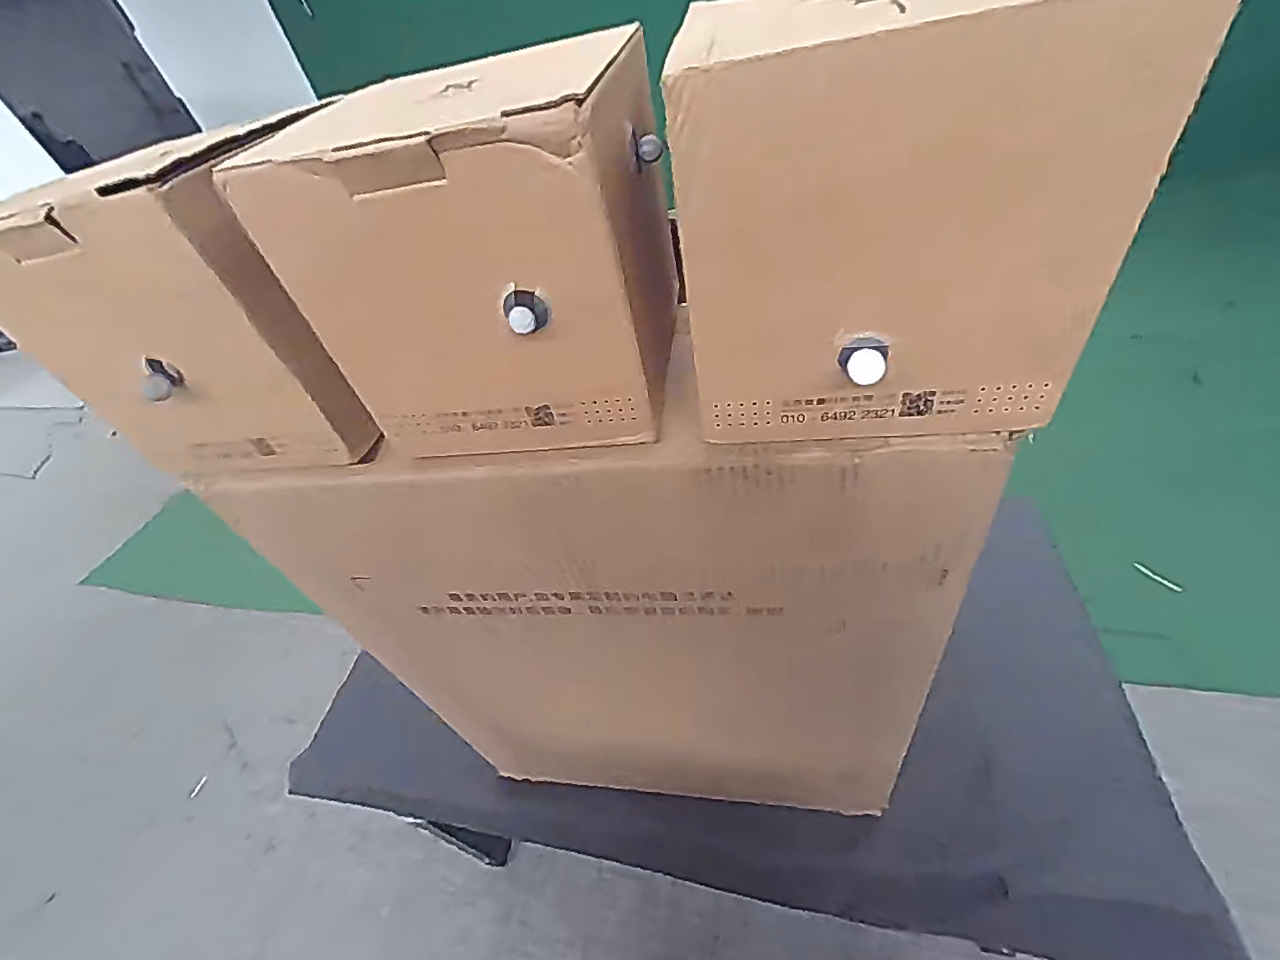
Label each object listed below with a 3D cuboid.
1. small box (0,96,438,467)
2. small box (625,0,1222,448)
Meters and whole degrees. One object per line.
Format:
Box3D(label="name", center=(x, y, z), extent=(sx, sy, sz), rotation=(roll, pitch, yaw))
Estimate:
Box3D(label="small box", center=(-0.267, -0.120, 0.362), extent=(0.168, 0.176, 0.179), rotation=(-3, 46, 15))
Box3D(label="small box", center=(0.100, -0.135, 0.268), extent=(0.168, 0.176, 0.179), rotation=(-2, 47, 14))
